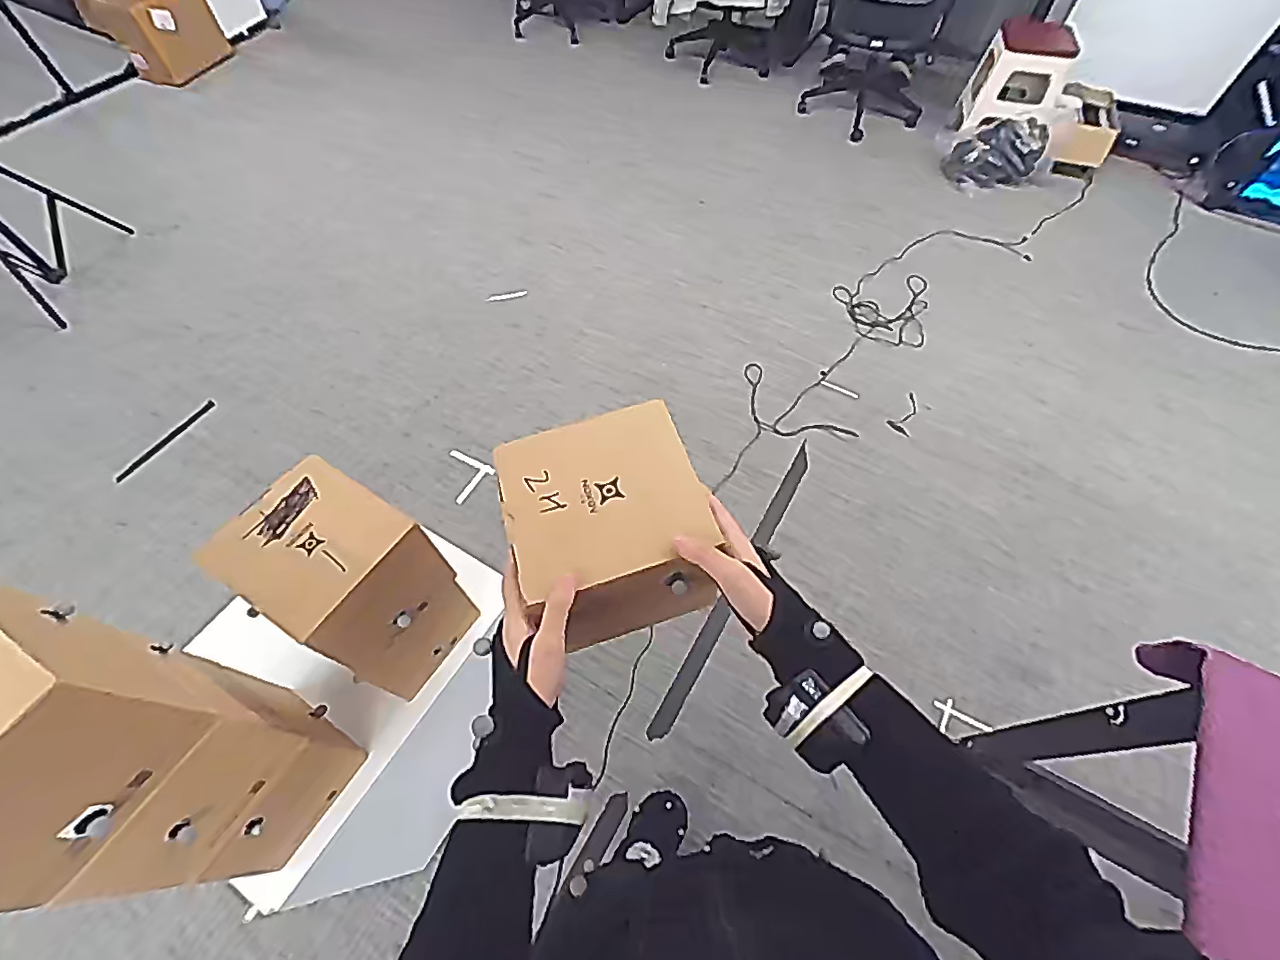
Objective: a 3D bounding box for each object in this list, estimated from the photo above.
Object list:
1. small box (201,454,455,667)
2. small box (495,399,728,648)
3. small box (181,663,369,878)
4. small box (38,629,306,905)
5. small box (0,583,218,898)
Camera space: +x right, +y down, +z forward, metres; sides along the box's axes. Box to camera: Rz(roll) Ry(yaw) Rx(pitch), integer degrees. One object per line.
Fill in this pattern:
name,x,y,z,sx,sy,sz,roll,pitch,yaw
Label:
small box,-0.363,0.105,0.665,0.179,0.176,0.168,29,64,15
small box,-0.027,0.051,0.546,0.179,0.176,0.168,-17,60,-5
small box,-0.499,0.370,0.696,0.179,0.176,0.168,27,63,17
small box,-0.498,0.285,0.558,0.179,0.176,0.168,26,62,16
small box,-0.500,0.198,0.421,0.179,0.176,0.168,26,63,15
